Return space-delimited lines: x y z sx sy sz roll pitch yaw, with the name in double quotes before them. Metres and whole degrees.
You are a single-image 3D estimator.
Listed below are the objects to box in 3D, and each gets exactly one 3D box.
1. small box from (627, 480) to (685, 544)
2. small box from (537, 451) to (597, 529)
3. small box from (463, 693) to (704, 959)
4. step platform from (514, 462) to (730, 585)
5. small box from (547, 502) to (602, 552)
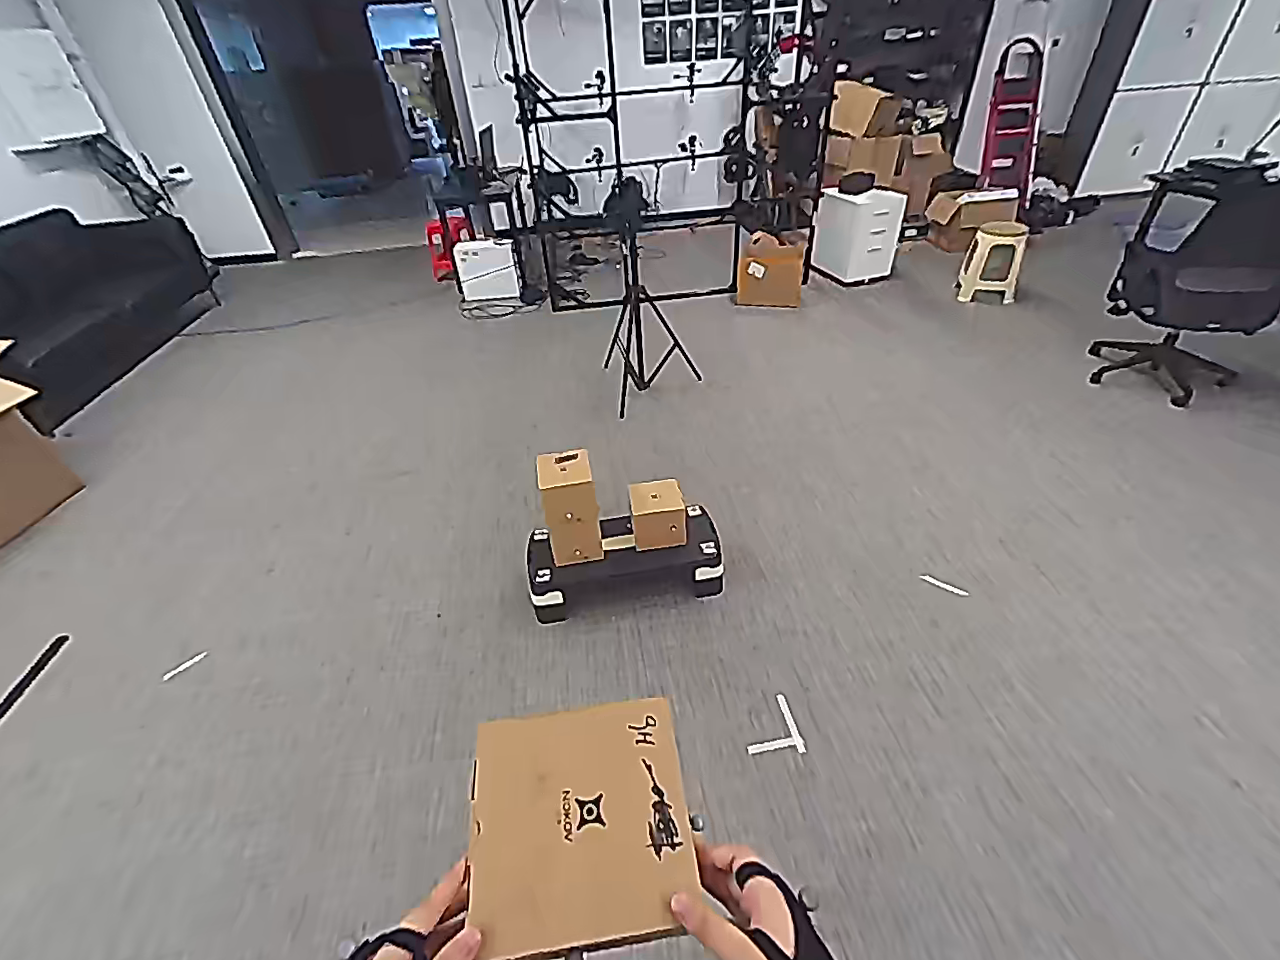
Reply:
"small box" 0.054 0.123 1.858 0.179 0.176 0.168 -9 37 -5
"small box" -0.235 0.032 1.734 0.168 0.176 0.179 -9 39 -7
"small box" -0.046 0.318 0.493 0.179 0.176 0.168 -6 47 -5
"step platform" -0.055 0.141 1.787 0.684 0.204 0.286 -8 38 -6
"small box" -0.222 0.163 1.832 0.168 0.176 0.179 -9 38 -5
